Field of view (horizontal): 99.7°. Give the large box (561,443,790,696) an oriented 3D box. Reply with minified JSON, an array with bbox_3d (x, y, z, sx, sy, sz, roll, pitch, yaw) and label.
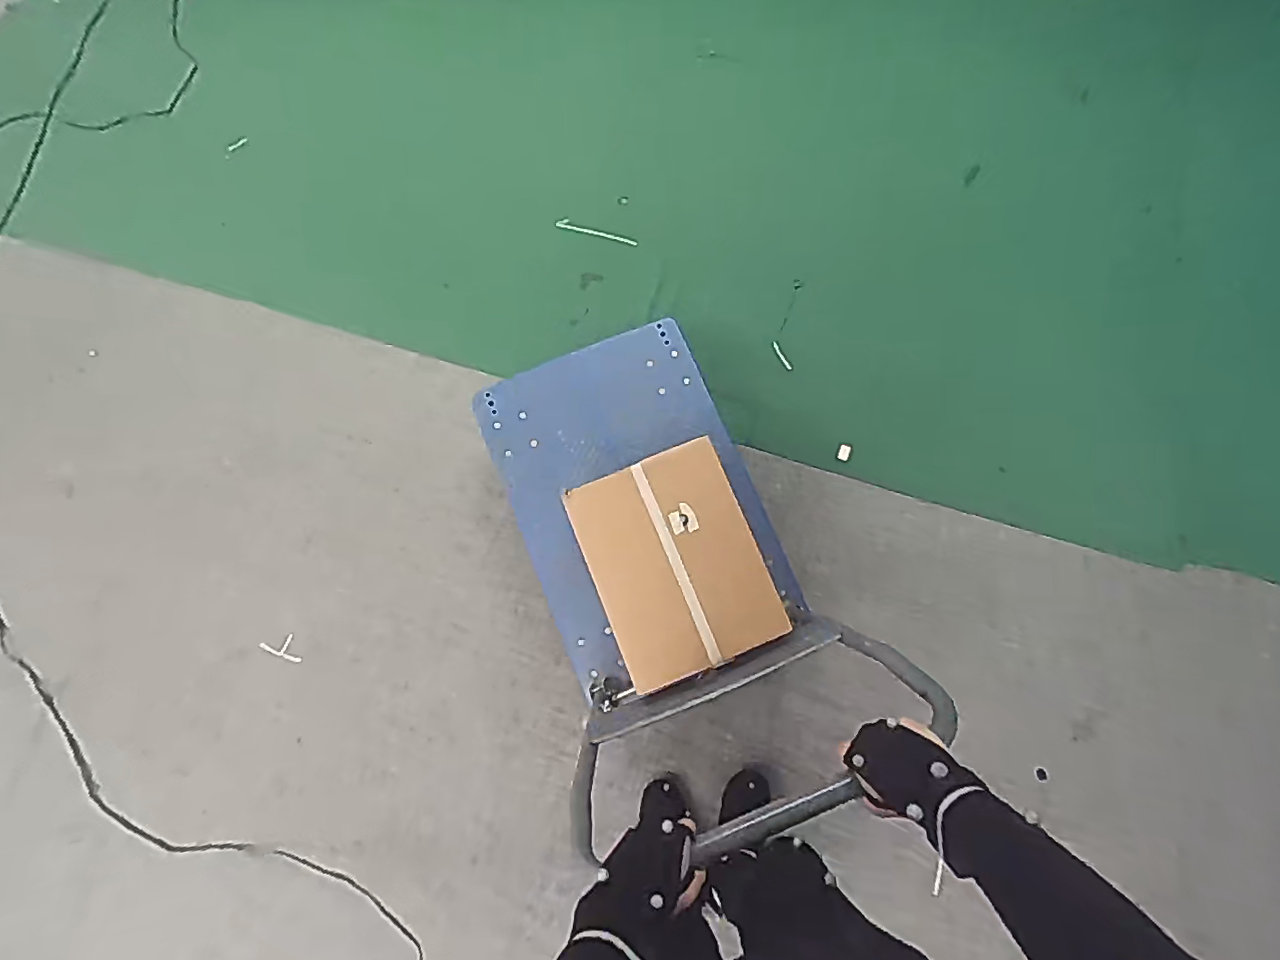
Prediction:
[{"bbox_3d":[0.069,0.188,1.172,0.320,0.320,0.408,-23,80,-4],"label":"large box"}]
